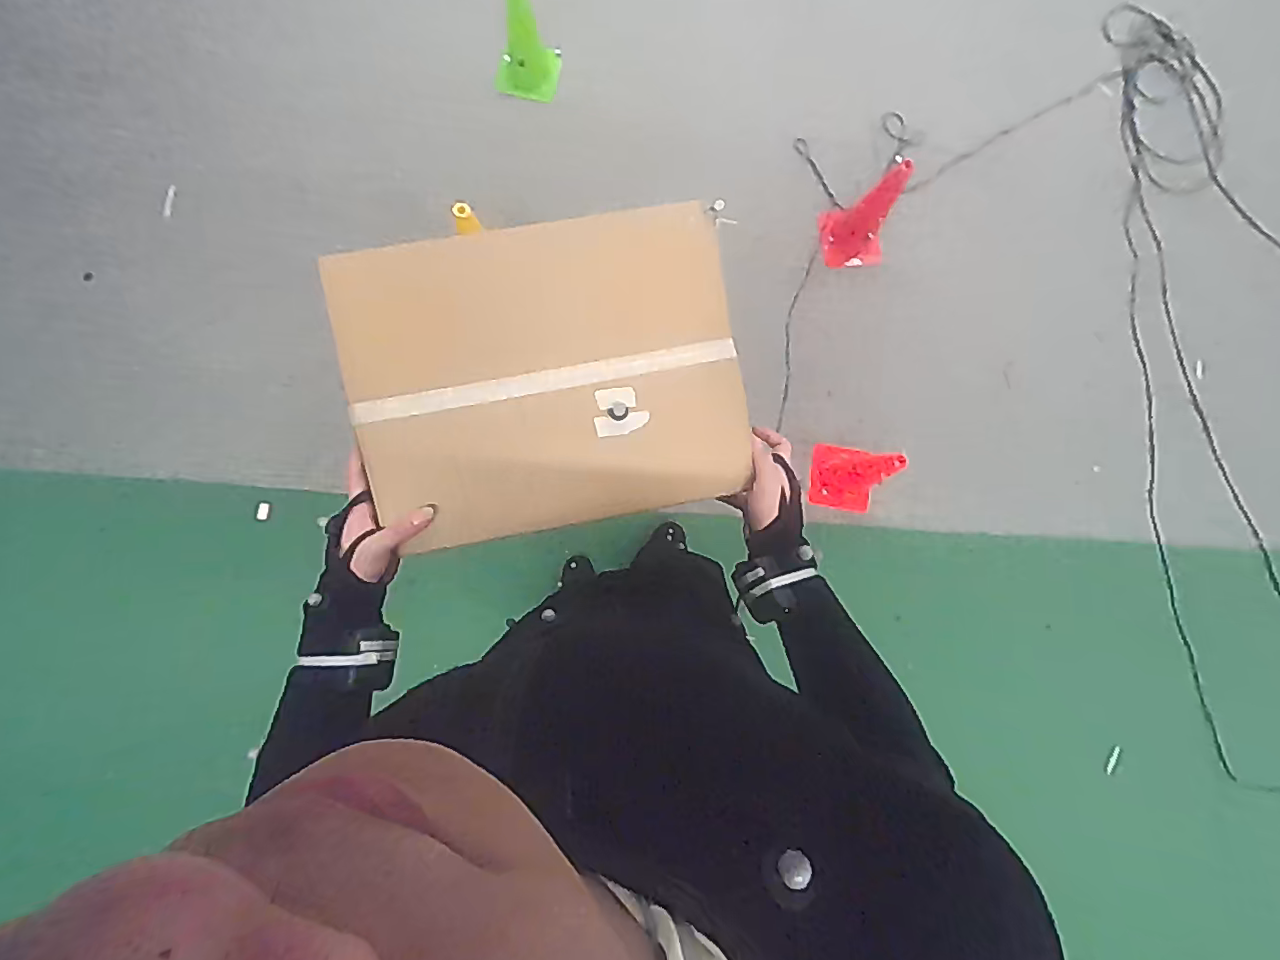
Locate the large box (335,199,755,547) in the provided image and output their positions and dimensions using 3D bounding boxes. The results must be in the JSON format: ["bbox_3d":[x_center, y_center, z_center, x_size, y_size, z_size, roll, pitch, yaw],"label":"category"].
[{"bbox_3d":[-0.105,-0.126,0.723,0.408,0.320,0.320,-10,97,-5],"label":"large box"}]

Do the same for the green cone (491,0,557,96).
[{"bbox_3d":[-0.379,-1.417,1.652,0.200,0.368,0.202,10,84,-3],"label":"green cone"}]

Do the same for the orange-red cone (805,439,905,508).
[{"bbox_3d":[0.649,-0.038,1.561,0.199,0.360,0.198,11,83,-4],"label":"orange-red cone"}]
